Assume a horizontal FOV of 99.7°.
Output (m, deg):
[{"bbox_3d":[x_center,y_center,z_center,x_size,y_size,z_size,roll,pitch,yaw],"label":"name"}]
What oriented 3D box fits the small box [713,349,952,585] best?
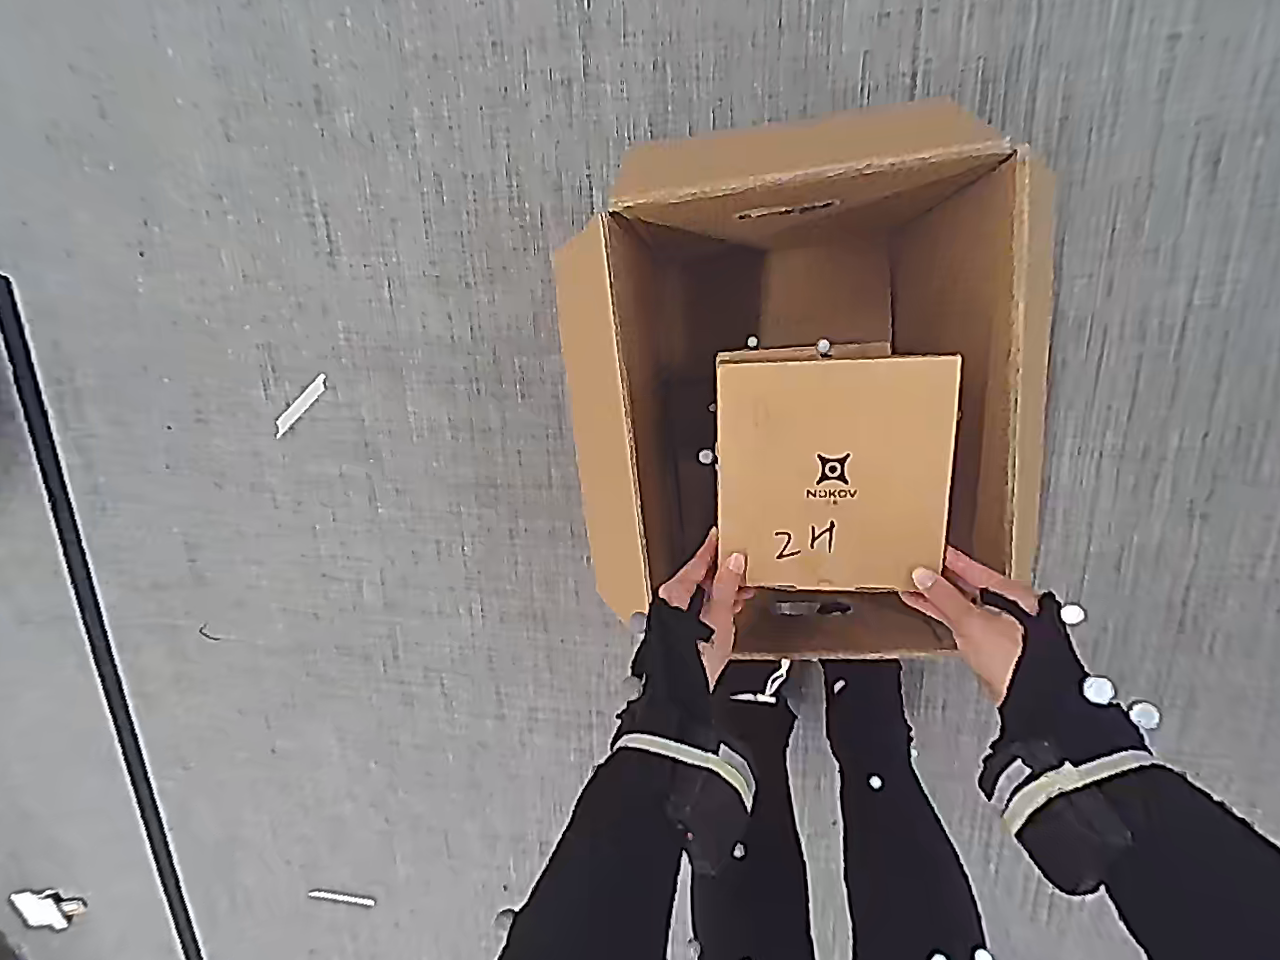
[{"bbox_3d":[0.149,-0.022,0.479,0.168,0.176,0.179,0,103,9],"label":"small box"}]
